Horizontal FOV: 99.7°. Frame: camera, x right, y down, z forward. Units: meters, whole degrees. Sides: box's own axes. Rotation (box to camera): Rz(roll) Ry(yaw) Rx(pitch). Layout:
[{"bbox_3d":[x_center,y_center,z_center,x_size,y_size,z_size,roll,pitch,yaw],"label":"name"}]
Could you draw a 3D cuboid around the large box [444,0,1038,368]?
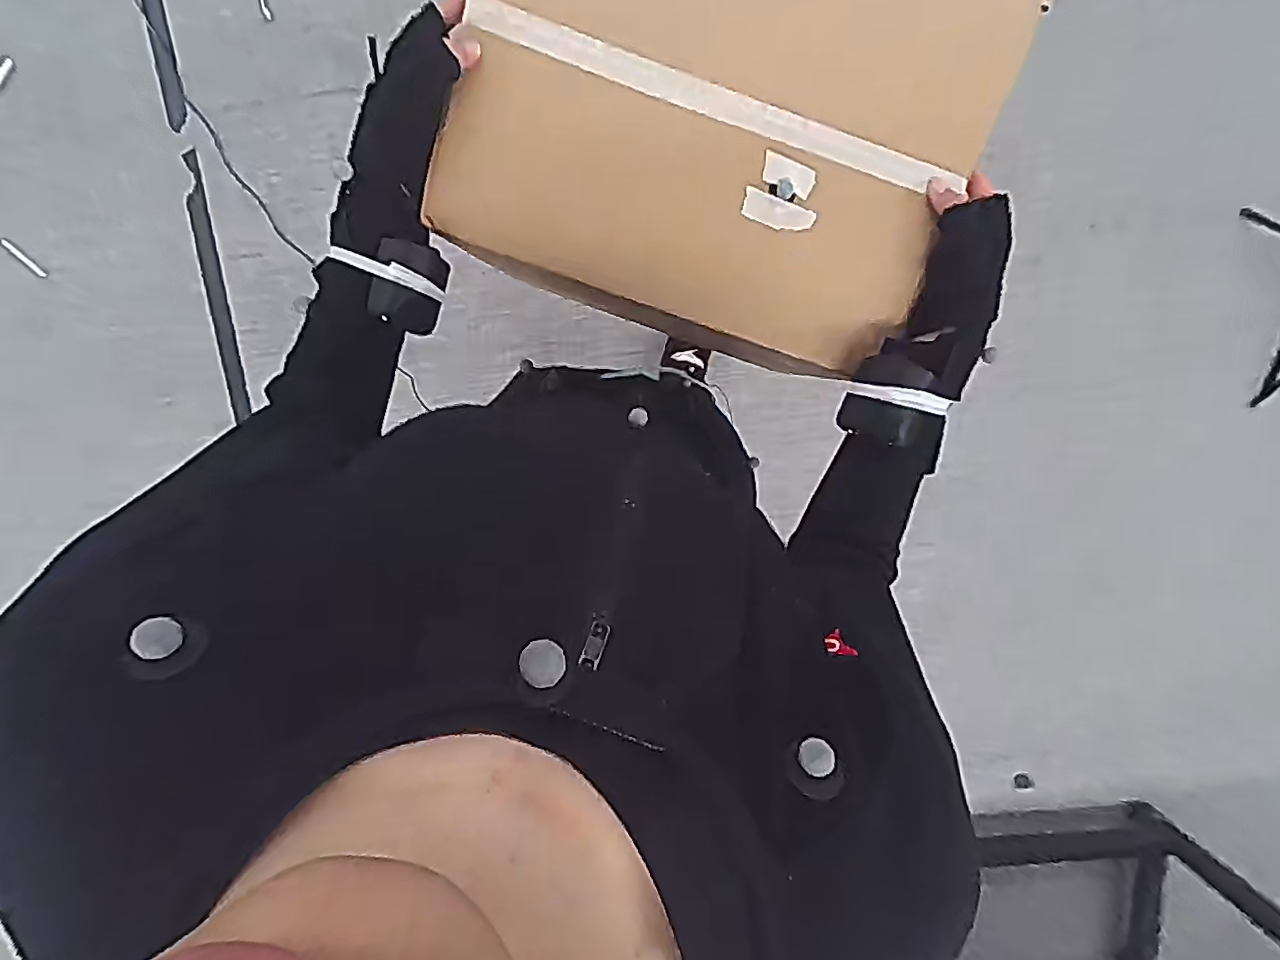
[{"bbox_3d":[0.068,-0.330,0.570,0.408,0.320,0.320,18,103,-5],"label":"large box"}]
